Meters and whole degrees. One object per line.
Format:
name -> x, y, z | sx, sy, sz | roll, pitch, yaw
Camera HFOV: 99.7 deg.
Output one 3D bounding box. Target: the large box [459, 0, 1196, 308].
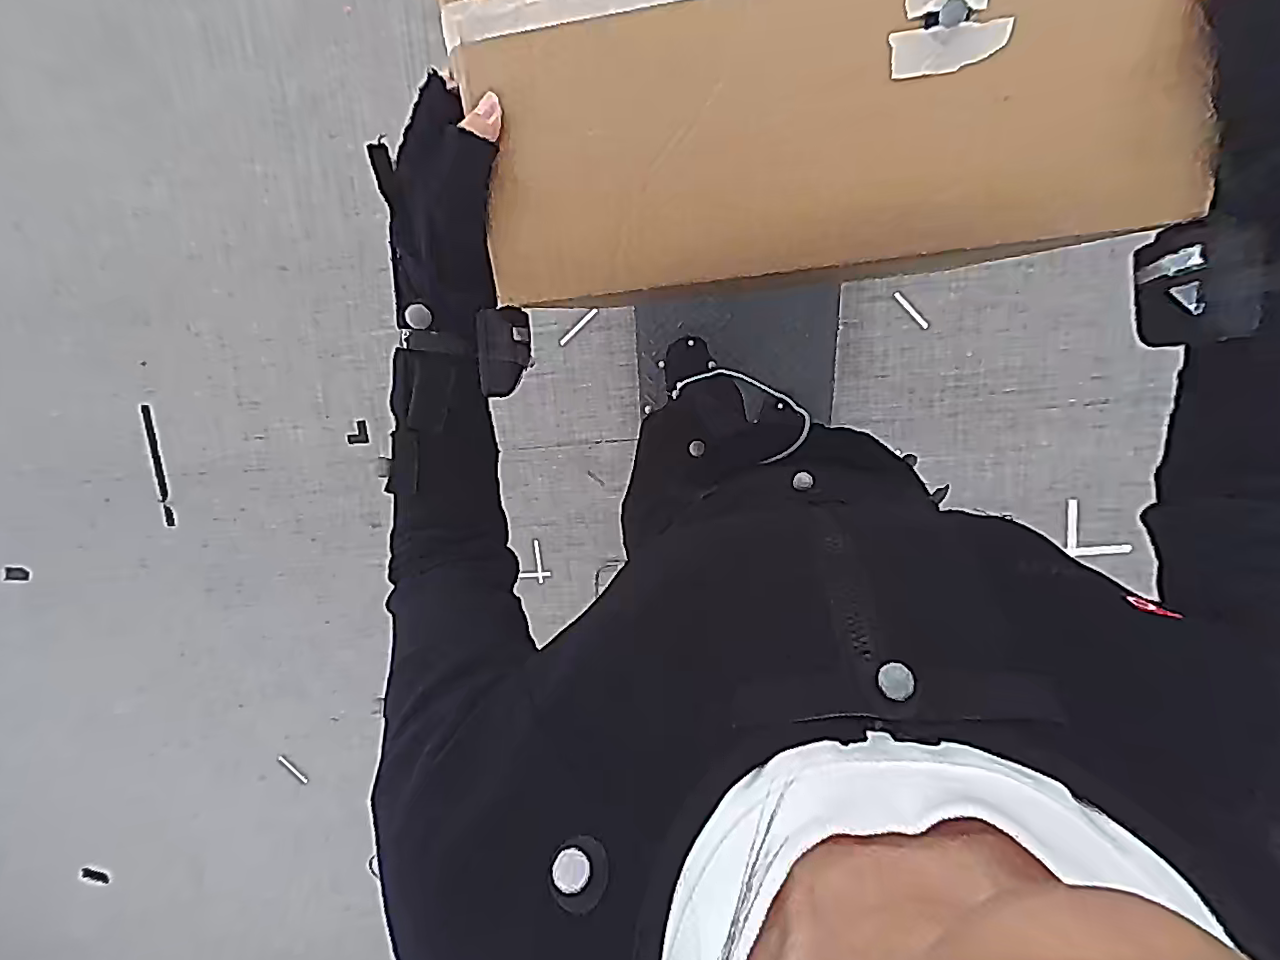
large box -> 0.104, -0.328, 0.439 | 0.408, 0.320, 0.320 | -4, 107, 9
